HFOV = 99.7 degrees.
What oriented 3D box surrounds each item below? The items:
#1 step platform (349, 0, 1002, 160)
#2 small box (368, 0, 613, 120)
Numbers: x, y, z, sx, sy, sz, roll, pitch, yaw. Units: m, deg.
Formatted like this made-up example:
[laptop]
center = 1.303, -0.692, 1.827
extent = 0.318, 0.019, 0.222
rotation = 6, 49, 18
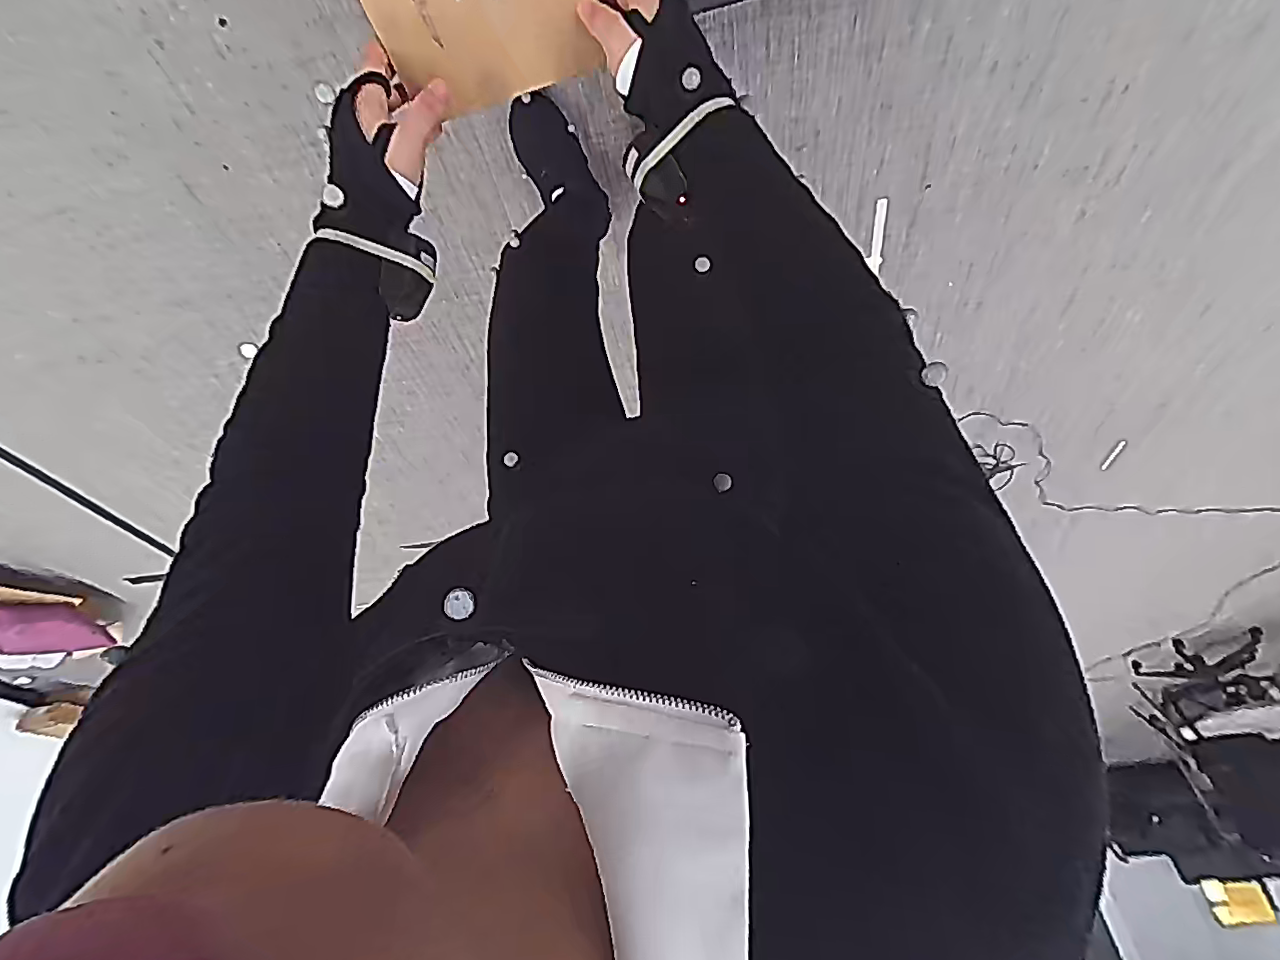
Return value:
[step platform]
center = 0.036, -0.588, 0.568
extent = 0.684, 0.204, 0.286
rotation = -10, 141, 8
[small box]
center = -0.128, -0.447, 0.456
extent = 0.179, 0.176, 0.168
rotation = -11, 139, 12
